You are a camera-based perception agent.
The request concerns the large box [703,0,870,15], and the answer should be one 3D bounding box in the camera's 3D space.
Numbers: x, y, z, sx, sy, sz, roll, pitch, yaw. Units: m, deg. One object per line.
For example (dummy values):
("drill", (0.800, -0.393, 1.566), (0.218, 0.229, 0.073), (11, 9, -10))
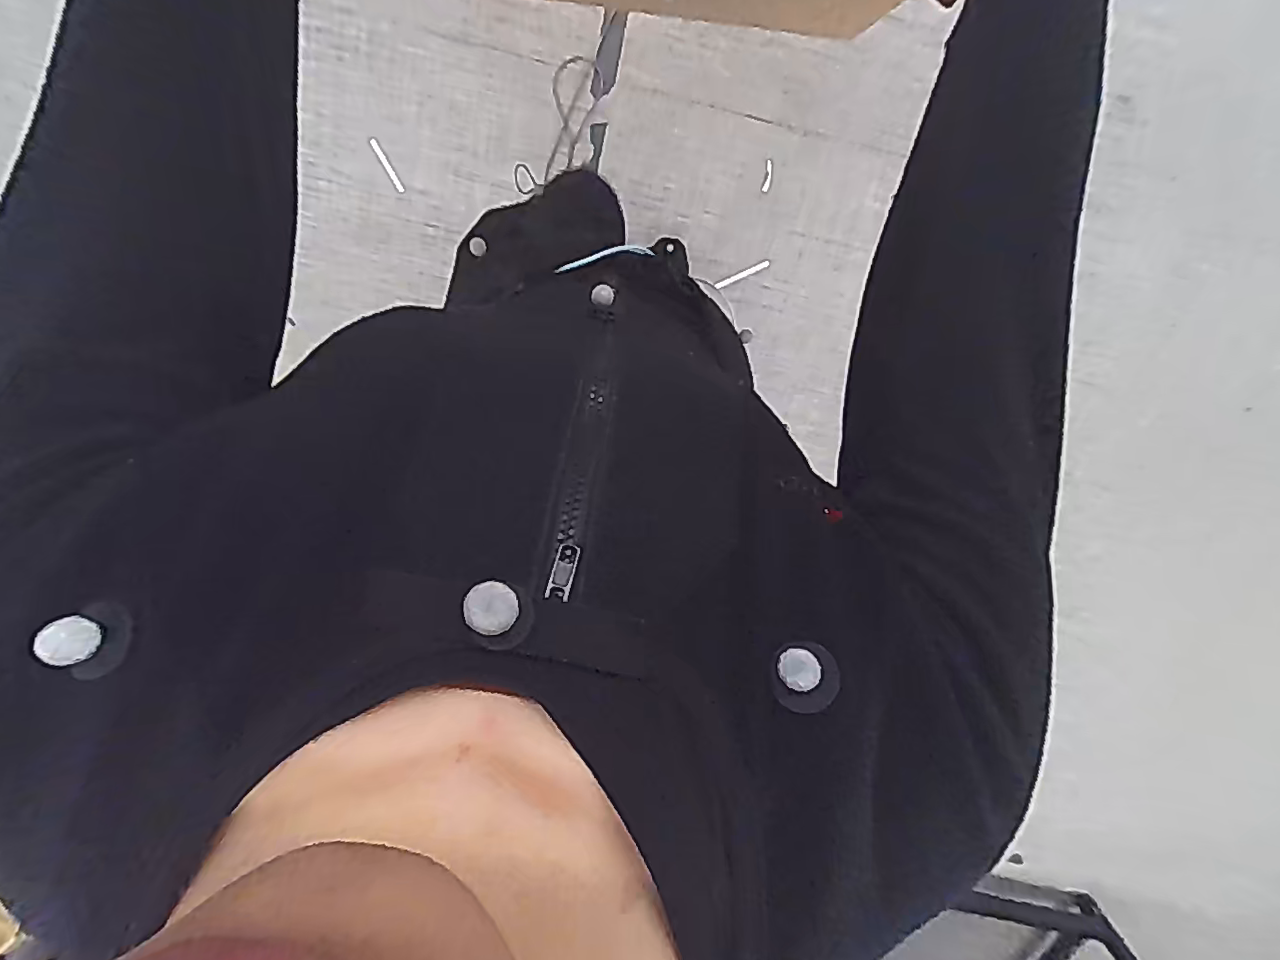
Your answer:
("large box", (0.046, -0.582, 0.388), (0.408, 0.320, 0.320), (8, 119, 1))
